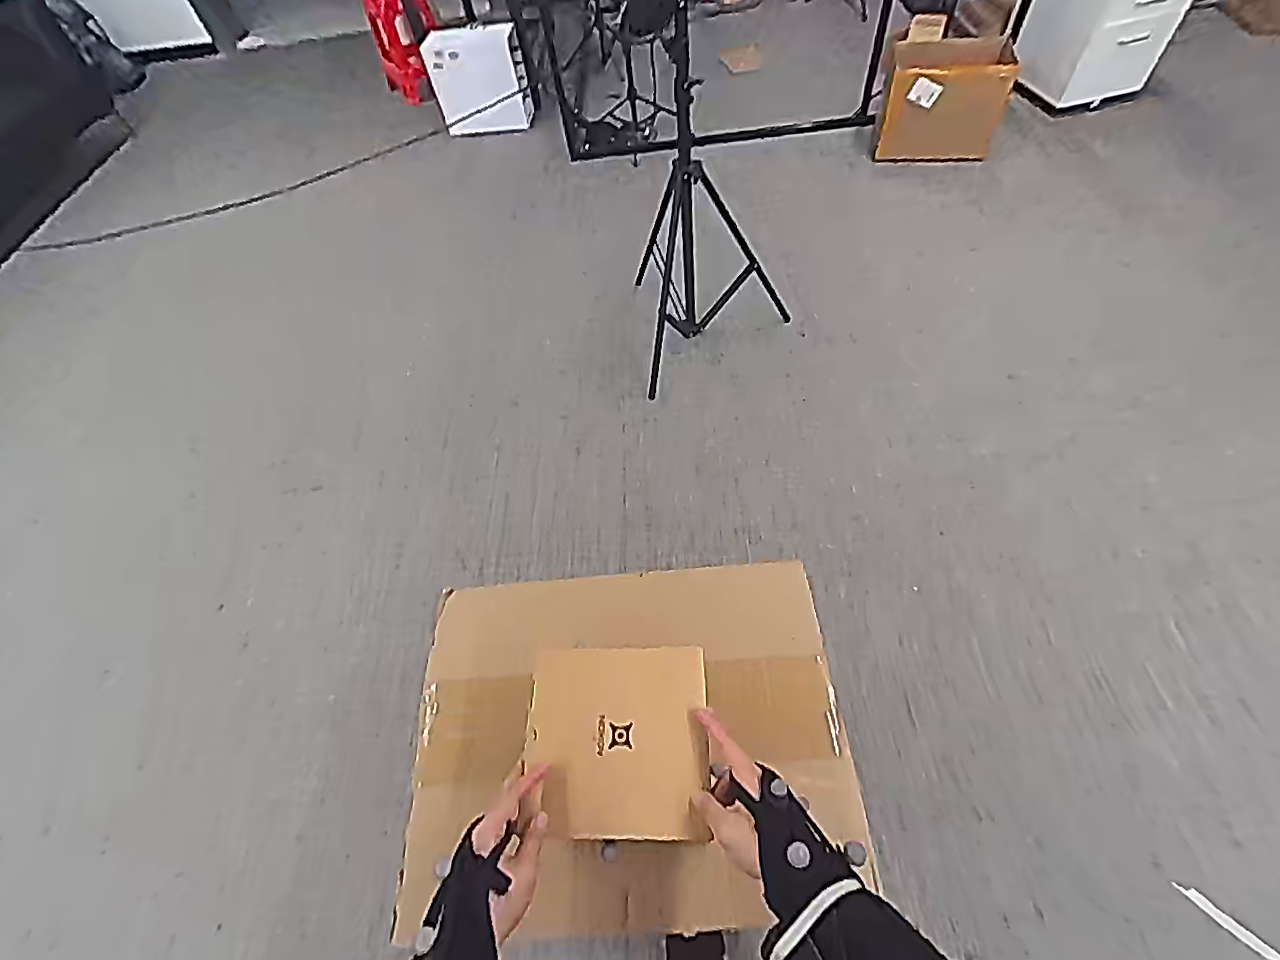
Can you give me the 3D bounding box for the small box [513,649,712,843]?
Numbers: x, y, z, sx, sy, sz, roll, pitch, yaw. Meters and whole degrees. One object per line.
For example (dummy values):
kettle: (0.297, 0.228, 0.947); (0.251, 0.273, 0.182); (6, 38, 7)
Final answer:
small box: (-0.016, 0.285, 0.576); (0.179, 0.176, 0.168); (-3, 56, 6)
